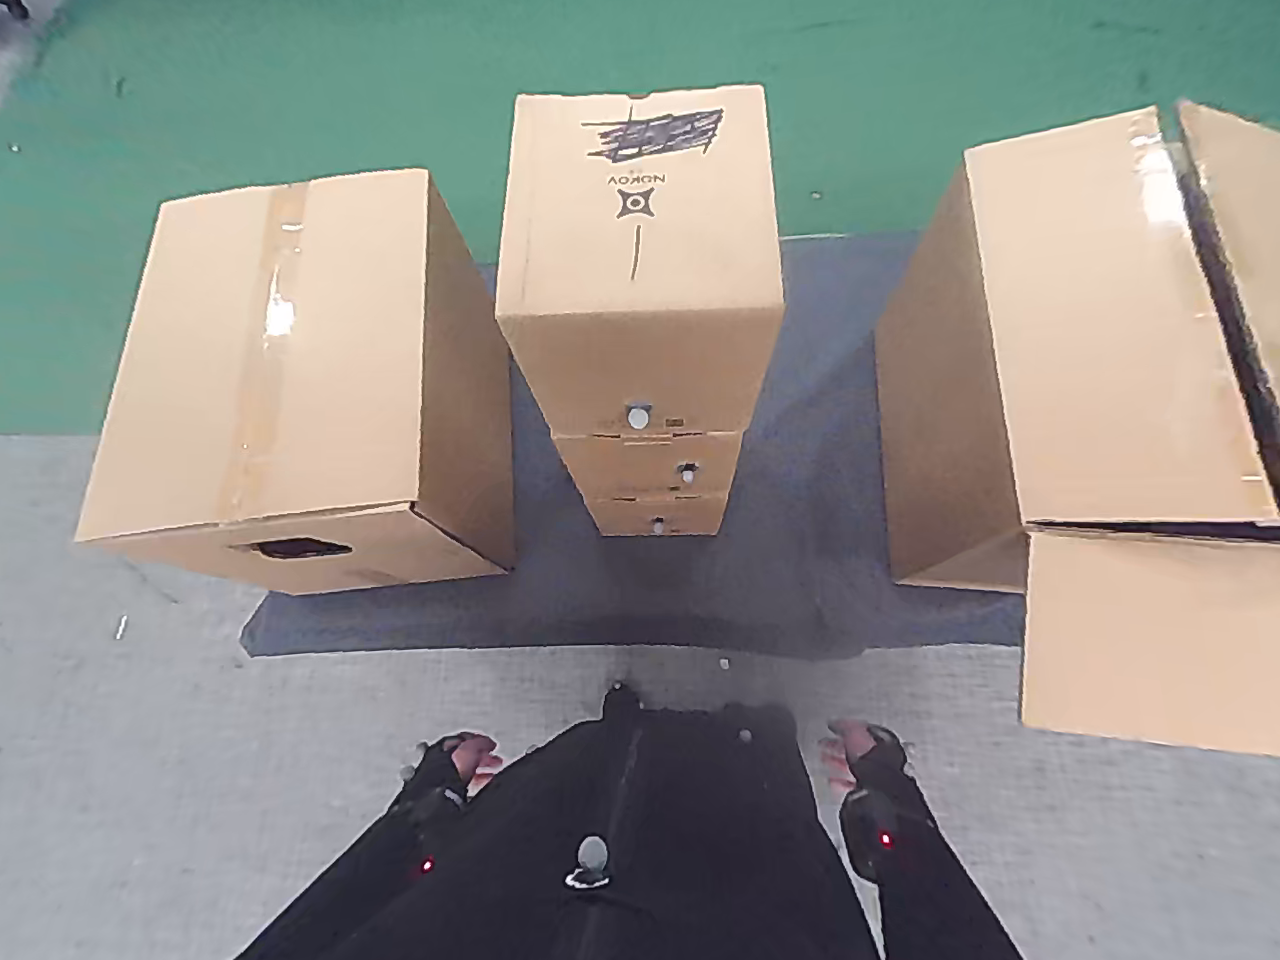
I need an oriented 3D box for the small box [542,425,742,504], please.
[{"bbox_3d":[0.007,-0.078,0.532,0.168,0.176,0.179,-2,70,3],"label":"small box"}]
